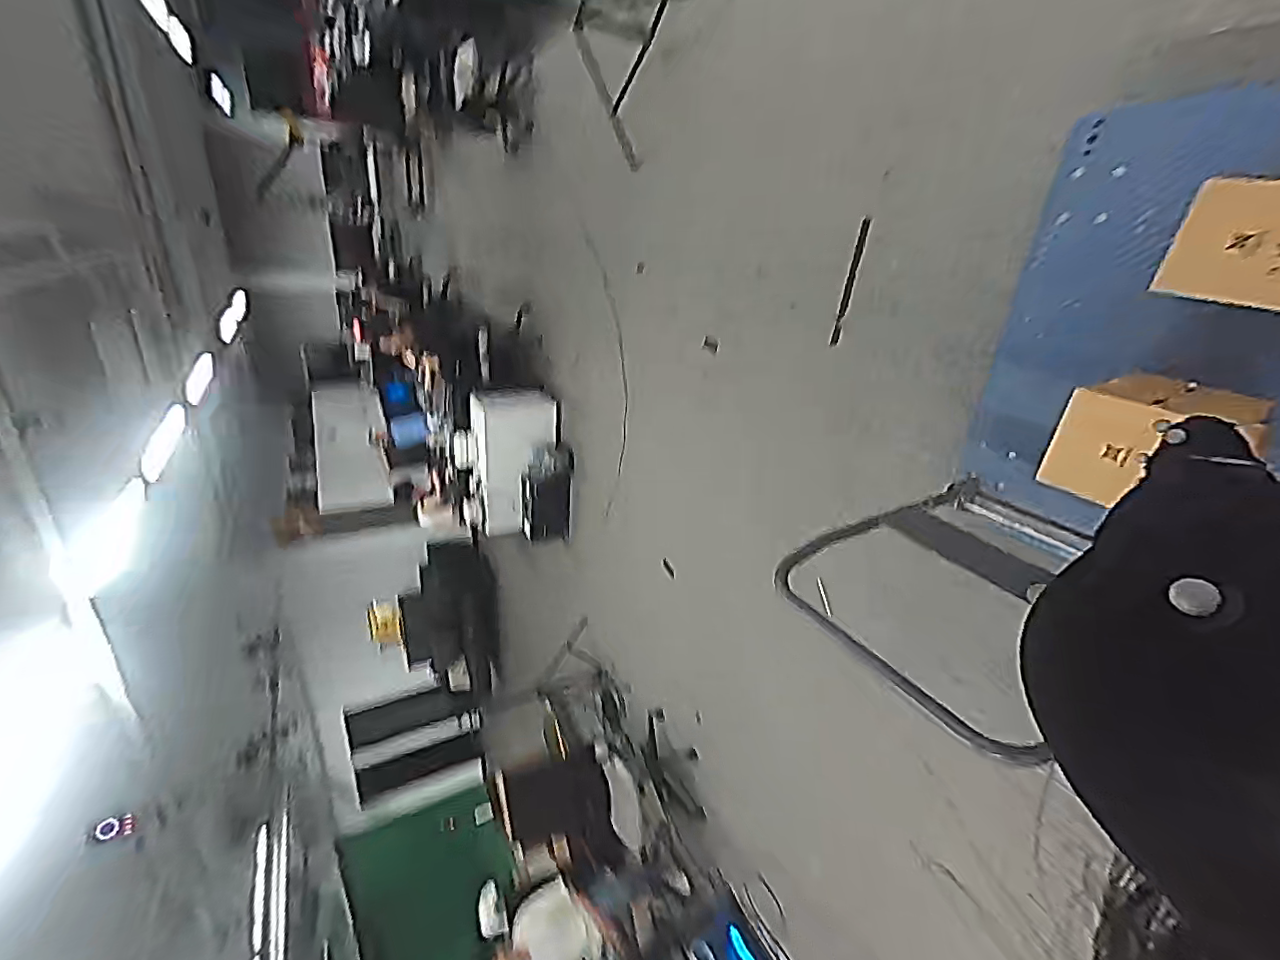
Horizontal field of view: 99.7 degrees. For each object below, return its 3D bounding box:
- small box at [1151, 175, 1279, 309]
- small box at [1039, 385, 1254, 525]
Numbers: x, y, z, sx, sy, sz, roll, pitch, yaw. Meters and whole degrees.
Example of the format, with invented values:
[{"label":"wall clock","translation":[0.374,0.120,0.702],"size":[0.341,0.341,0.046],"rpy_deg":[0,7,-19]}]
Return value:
[{"label":"small box","translation":[0.953,-0.358,0.820],"size":[0.179,0.176,0.168],"rpy_deg":[42,134,49]},{"label":"small box","translation":[0.797,-0.050,0.860],"size":[0.179,0.176,0.168],"rpy_deg":[38,131,49]}]
